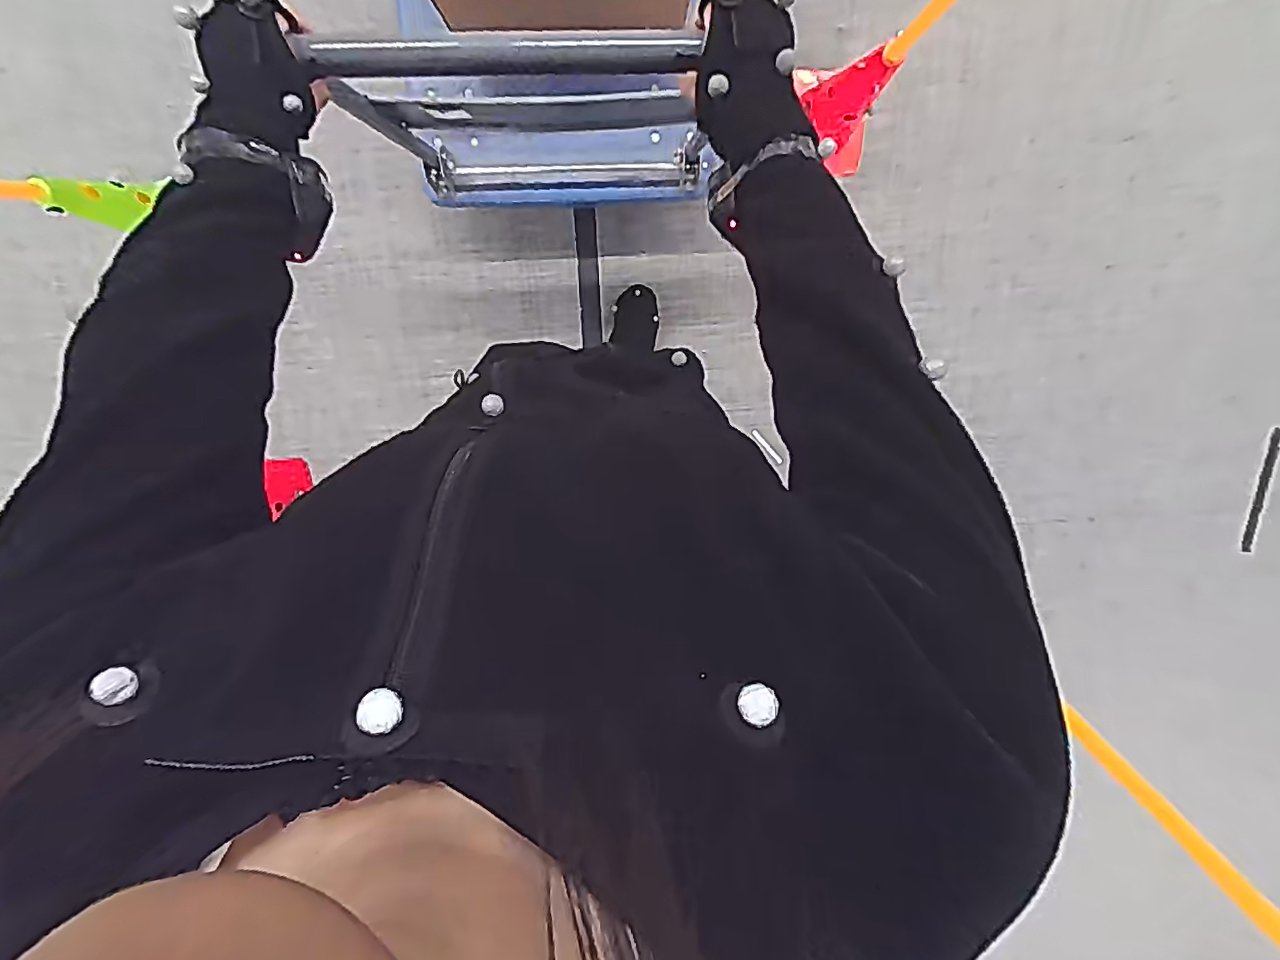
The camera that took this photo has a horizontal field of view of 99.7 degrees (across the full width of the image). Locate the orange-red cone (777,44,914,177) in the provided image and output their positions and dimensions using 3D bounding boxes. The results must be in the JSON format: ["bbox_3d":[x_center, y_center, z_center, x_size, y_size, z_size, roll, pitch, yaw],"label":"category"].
[{"bbox_3d":[0.419,-0.737,1.037,0.199,0.360,0.198,3,108,-4],"label":"orange-red cone"}]
